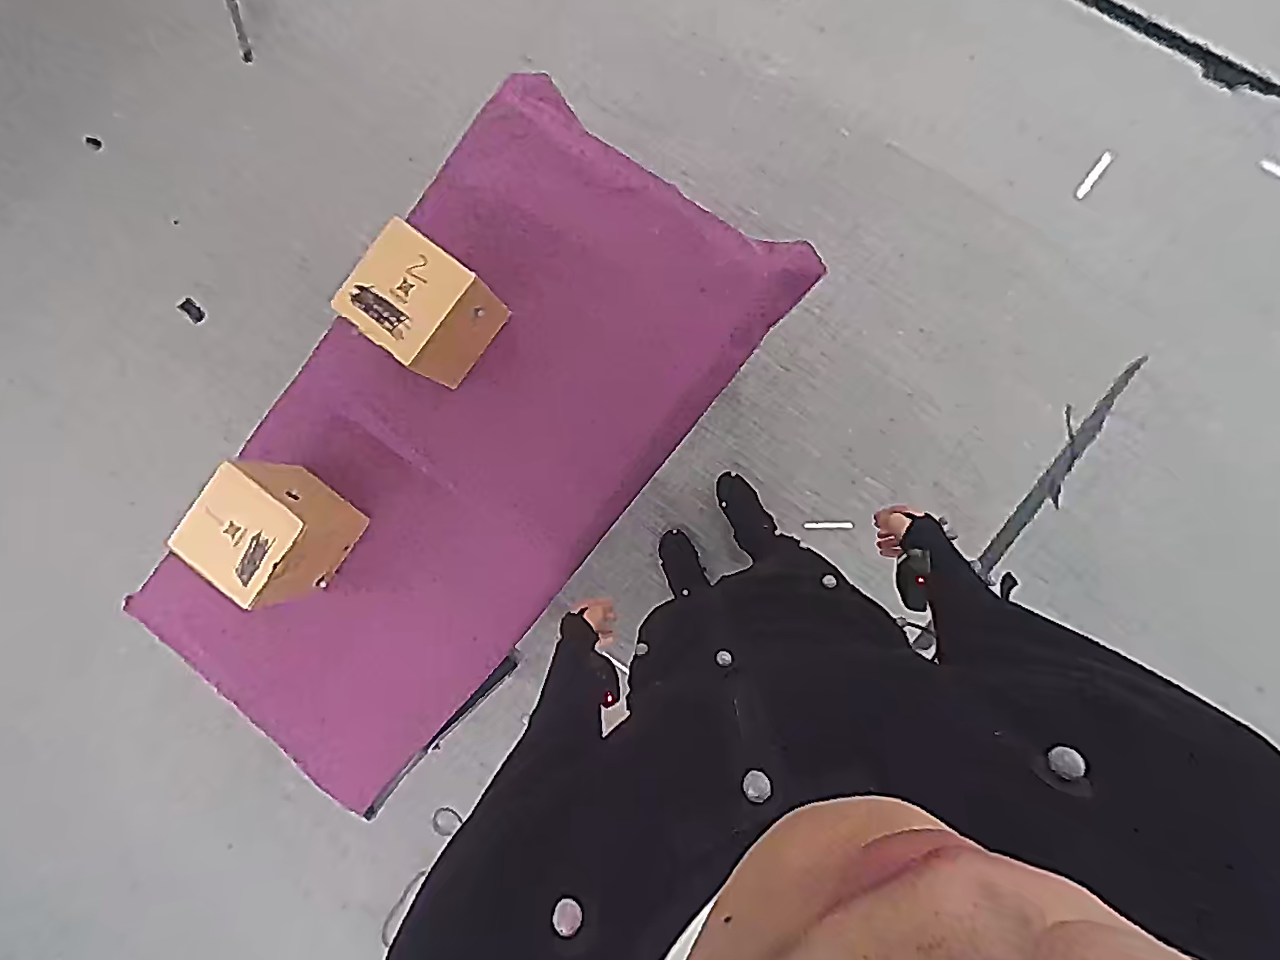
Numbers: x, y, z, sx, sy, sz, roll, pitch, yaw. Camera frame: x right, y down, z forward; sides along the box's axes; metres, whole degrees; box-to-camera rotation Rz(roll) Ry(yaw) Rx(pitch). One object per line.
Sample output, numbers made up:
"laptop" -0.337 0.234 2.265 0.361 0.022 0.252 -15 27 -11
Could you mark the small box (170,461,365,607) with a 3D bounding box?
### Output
"small box" -0.614 0.085 0.915 0.179 0.176 0.168 35 91 6
